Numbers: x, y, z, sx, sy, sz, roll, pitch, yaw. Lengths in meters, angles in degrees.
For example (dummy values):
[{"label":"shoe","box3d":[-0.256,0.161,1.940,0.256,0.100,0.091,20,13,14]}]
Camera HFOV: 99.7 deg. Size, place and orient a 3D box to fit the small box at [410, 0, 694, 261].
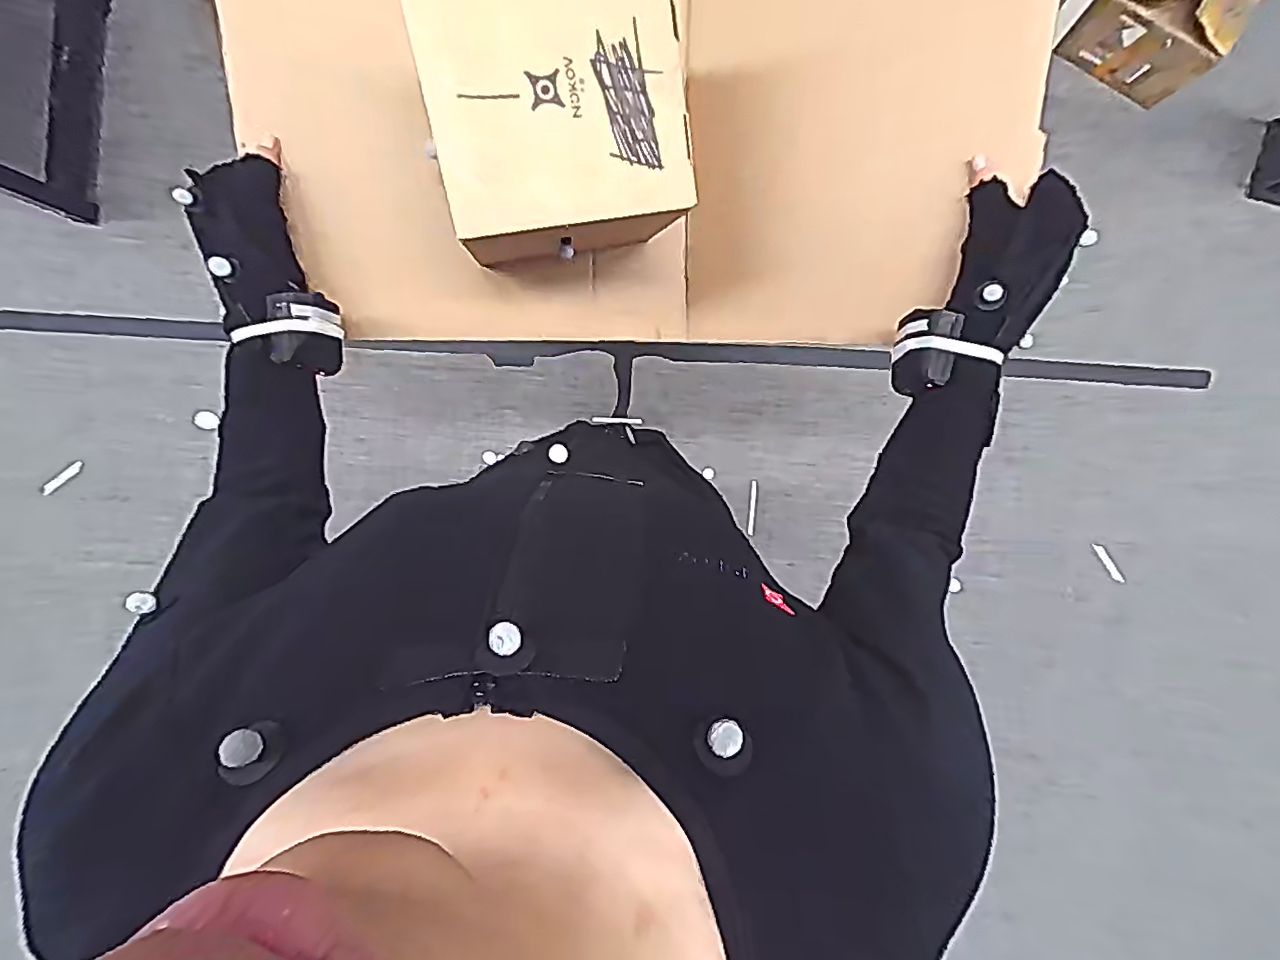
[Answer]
[{"label":"small box","box3d":[-0.069,-0.285,0.447,0.179,0.176,0.168,-12,108,-8]}]
